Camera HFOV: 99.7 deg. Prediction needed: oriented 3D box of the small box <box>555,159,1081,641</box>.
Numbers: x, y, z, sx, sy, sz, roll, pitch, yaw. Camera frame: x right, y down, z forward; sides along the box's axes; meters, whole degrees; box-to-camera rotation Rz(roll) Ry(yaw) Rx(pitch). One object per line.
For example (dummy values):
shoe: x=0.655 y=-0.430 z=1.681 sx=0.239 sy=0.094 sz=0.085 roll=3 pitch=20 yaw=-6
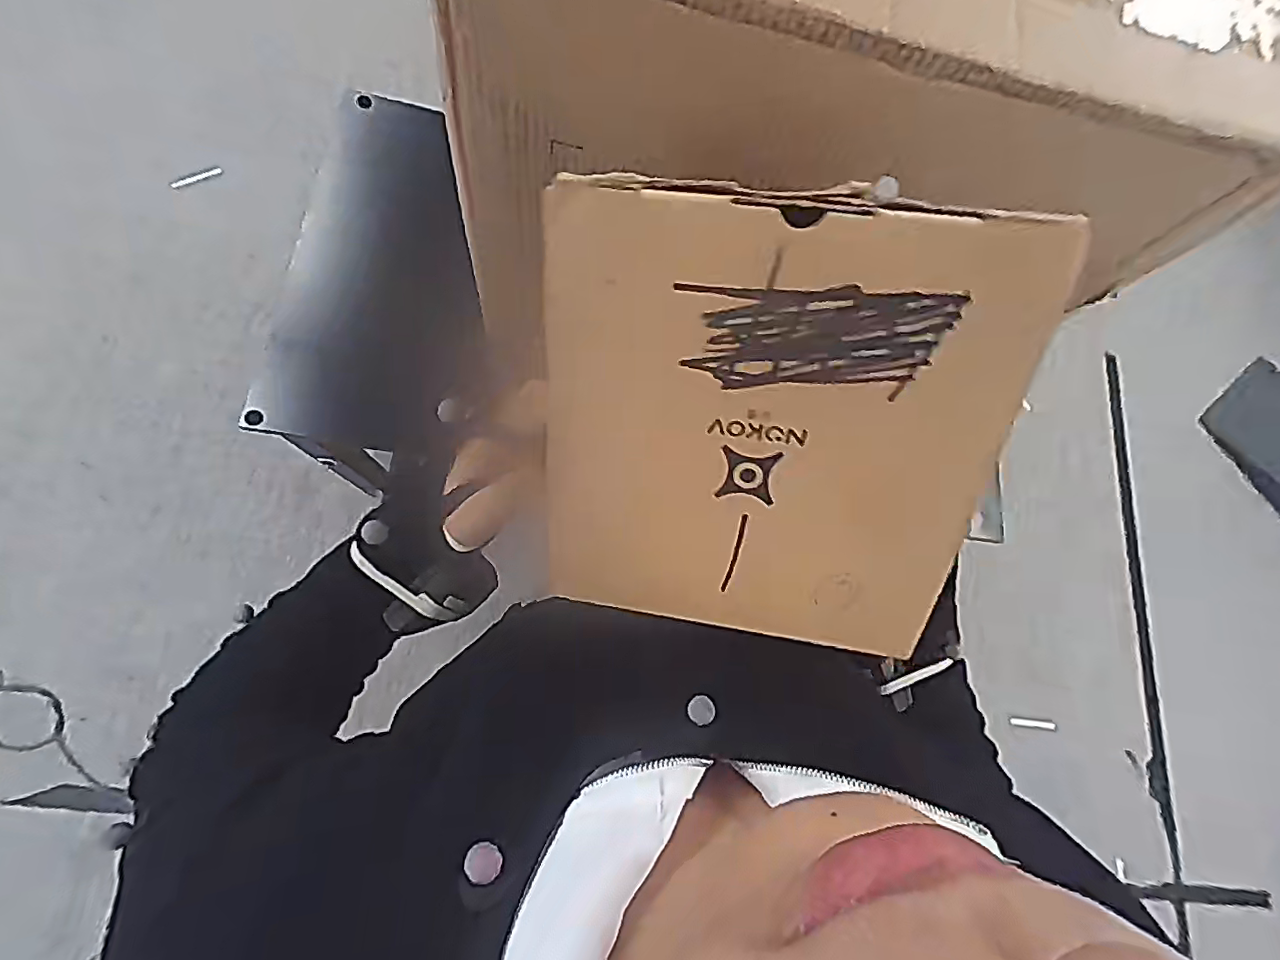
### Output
small box: x=0.060 y=-0.052 z=0.278 sx=0.168 sy=0.176 sz=0.179 roll=8 pitch=118 yaw=7
